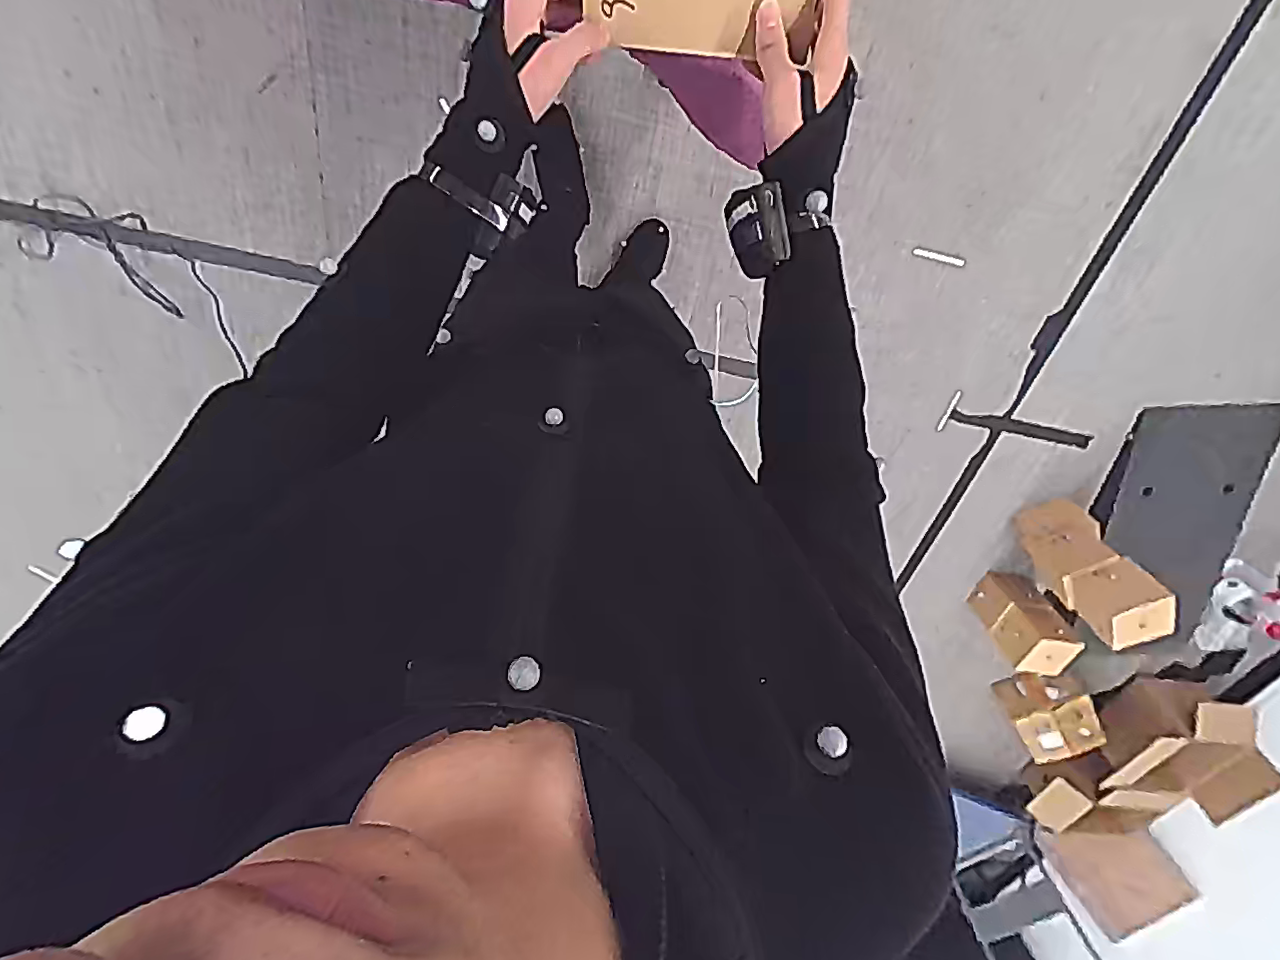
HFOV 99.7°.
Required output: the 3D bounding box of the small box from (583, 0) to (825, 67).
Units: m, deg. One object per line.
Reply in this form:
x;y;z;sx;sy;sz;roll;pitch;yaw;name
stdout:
0.055;-0.439;0.408;0.179;0.176;0.168;6;136;-2;small box
